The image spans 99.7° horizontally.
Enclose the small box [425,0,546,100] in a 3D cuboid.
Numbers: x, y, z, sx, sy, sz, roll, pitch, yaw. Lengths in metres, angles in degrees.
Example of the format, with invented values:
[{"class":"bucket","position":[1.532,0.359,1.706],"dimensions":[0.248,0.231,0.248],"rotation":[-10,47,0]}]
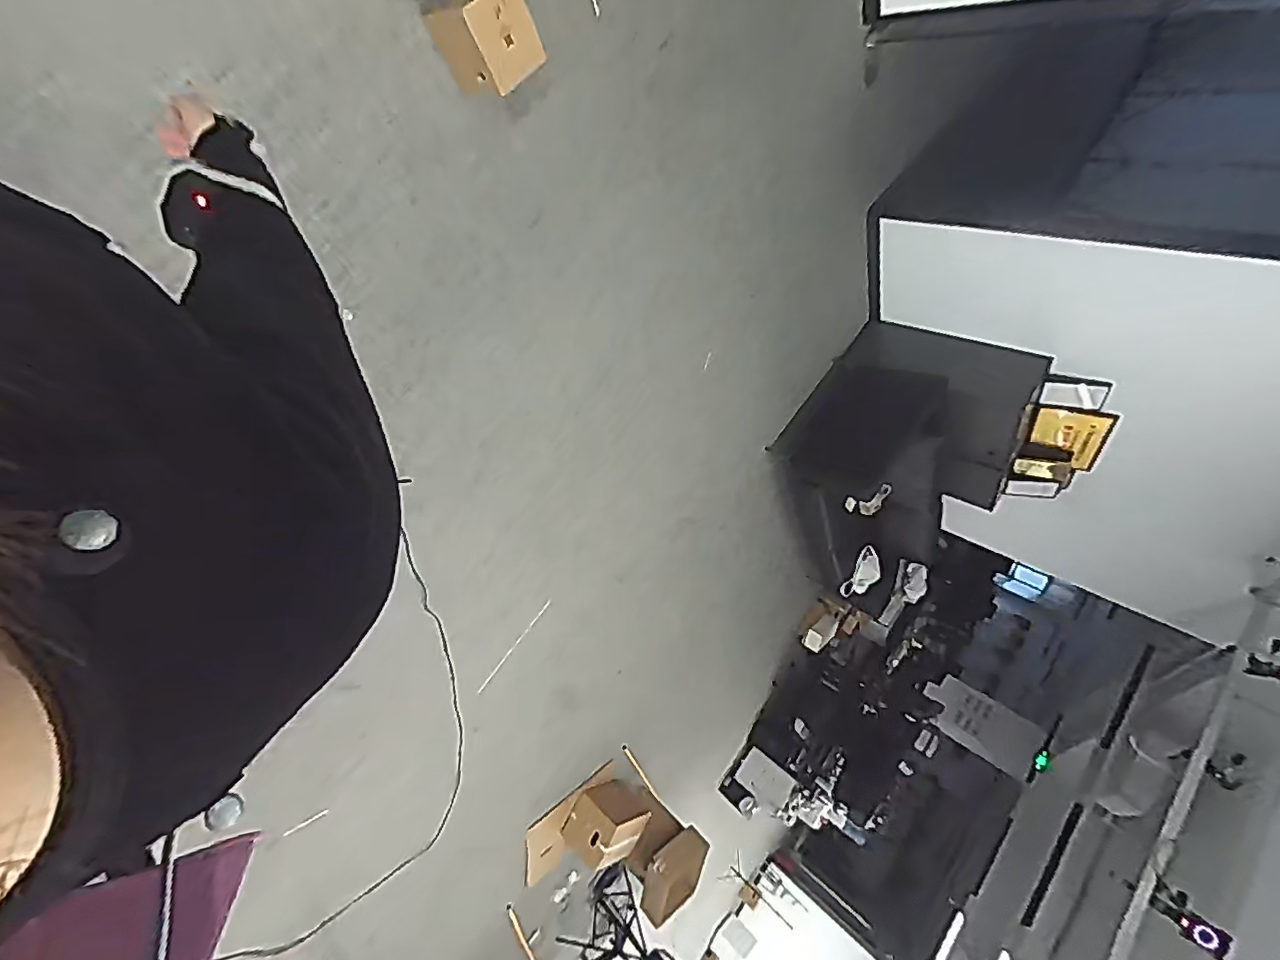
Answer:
[{"class":"small box","position":[-0.362,-1.035,1.275],"dimensions":[0.168,0.176,0.179],"rotation":[-52,143,-15]}]
